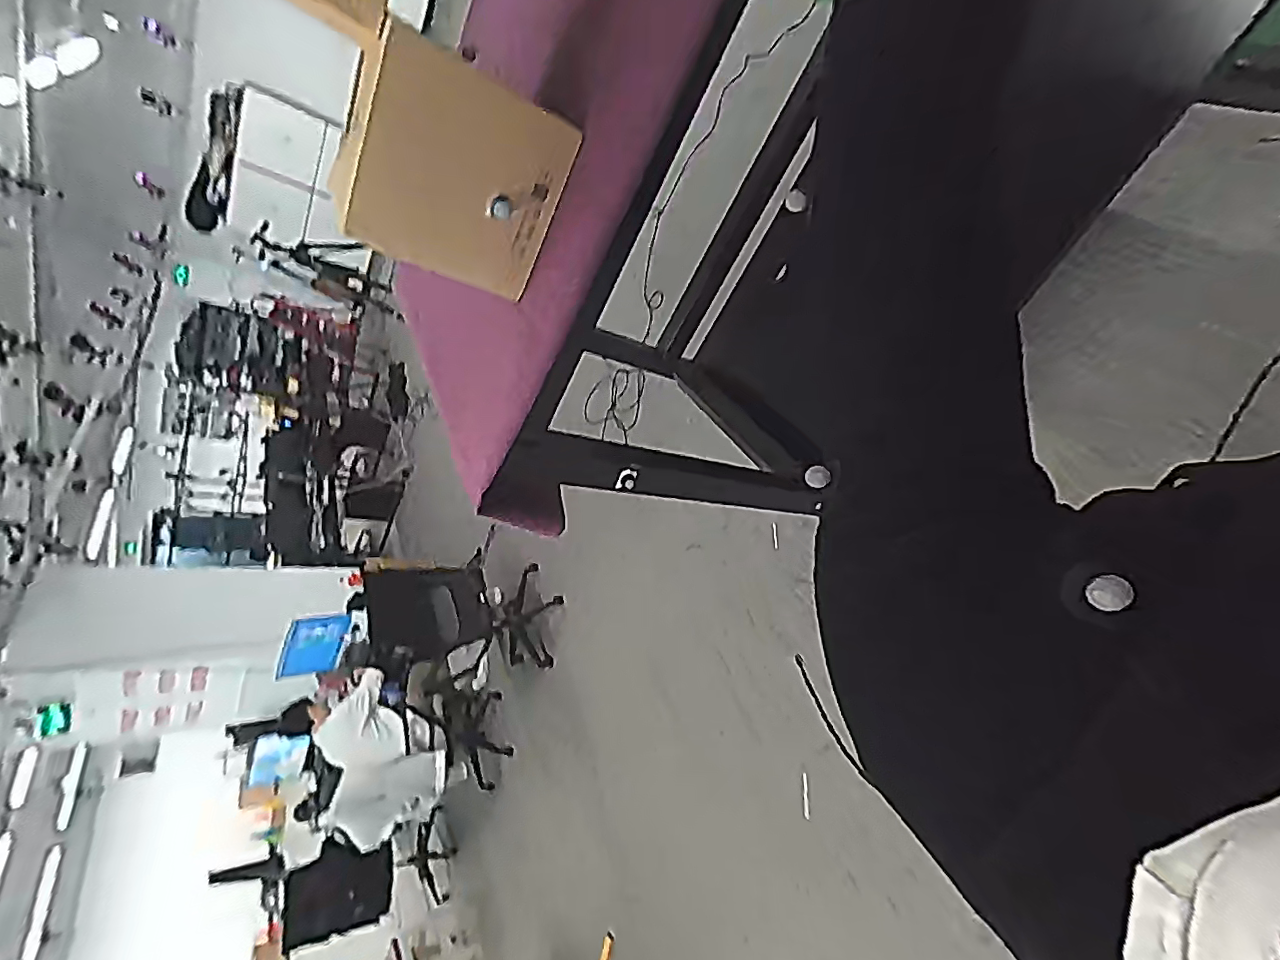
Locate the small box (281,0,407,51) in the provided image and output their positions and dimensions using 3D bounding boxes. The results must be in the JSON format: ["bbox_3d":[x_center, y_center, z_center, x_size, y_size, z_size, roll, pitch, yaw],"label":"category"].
[{"bbox_3d":[-0.249,-0.451,0.393,0.179,0.176,0.168,50,121,46],"label":"small box"}]

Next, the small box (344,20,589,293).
[{"bbox_3d":[-0.178,-0.310,0.537,0.168,0.176,0.179,-61,43,25],"label":"small box"}]
